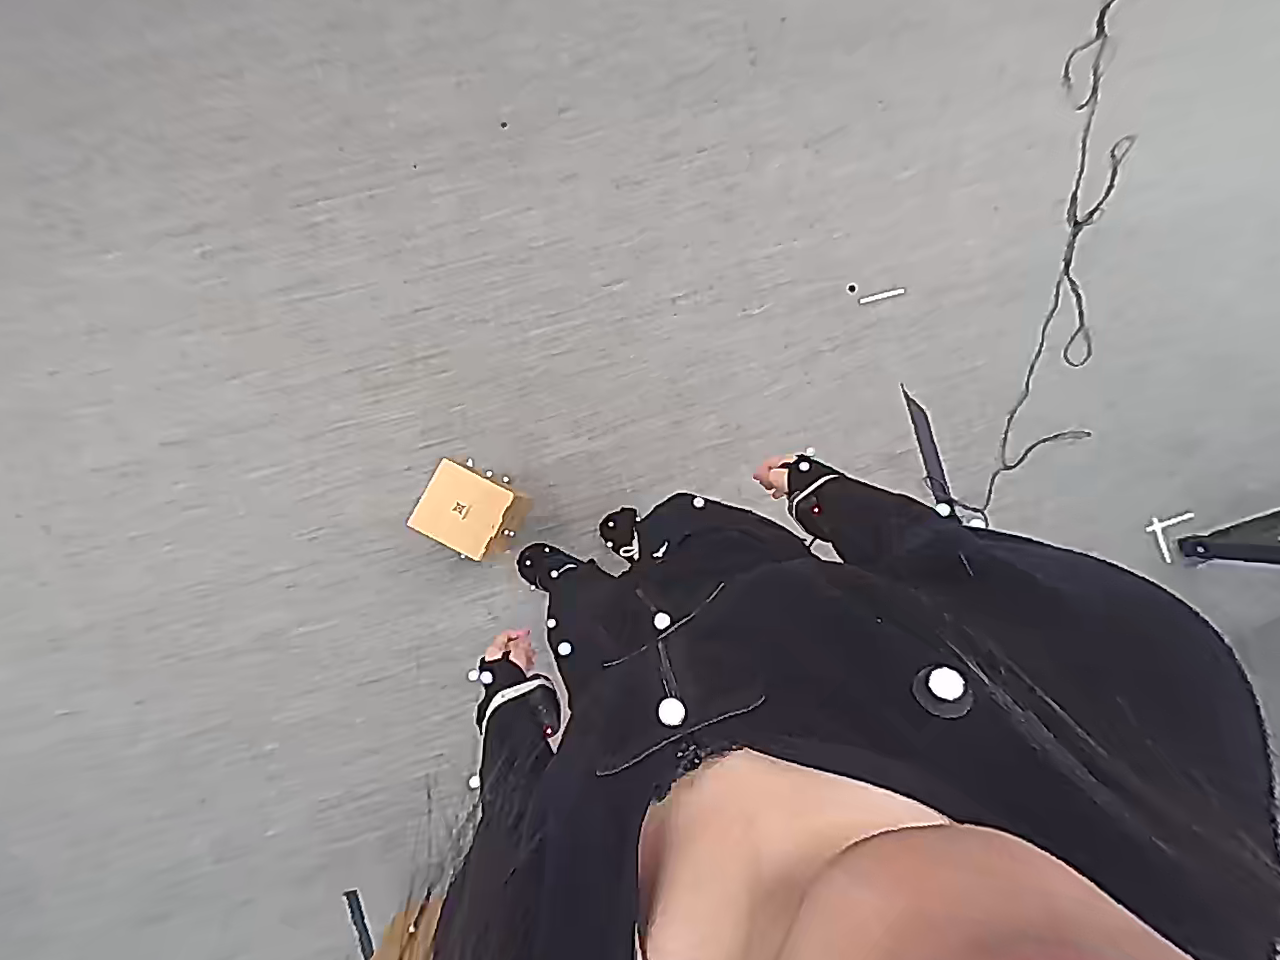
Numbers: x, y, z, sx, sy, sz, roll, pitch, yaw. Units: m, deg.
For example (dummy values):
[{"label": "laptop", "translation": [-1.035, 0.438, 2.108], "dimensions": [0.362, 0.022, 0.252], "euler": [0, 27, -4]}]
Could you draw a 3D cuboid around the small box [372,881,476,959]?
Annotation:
[{"label": "small box", "translation": [-0.528, 1.162, 1.355], "dimensions": [0.179, 0.176, 0.168], "euler": [-21, 88, -3]}]

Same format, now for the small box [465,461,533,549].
[{"label": "small box", "translation": [-0.401, 0.068, 1.408], "dimensions": [0.179, 0.176, 0.168], "euler": [28, 86, -1]}]

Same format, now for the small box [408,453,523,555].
[{"label": "small box", "translation": [-0.391, 0.058, 1.245], "dimensions": [0.179, 0.176, 0.168], "euler": [28, 85, -3]}]

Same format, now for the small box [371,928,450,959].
[{"label": "small box", "translation": [-0.520, 1.149, 1.191], "dimensions": [0.179, 0.176, 0.168], "euler": [-20, 88, -3]}]
